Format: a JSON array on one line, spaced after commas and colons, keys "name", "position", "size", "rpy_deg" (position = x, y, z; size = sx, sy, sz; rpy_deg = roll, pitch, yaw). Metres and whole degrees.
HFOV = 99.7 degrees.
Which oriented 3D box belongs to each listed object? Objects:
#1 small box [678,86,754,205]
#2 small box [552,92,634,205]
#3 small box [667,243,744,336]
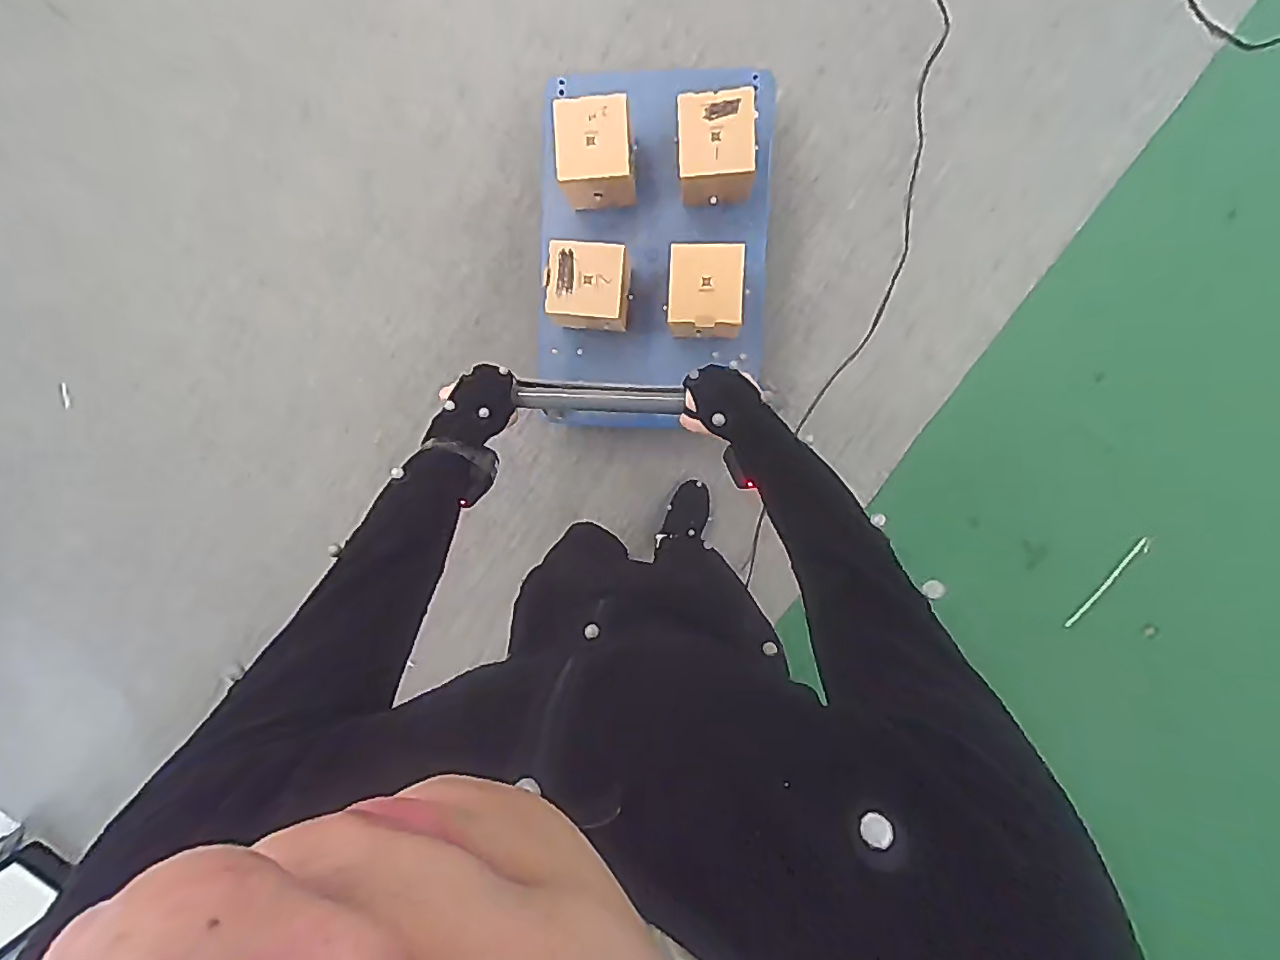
[{"name": "small box", "position": [0.170, -0.762, 1.248], "size": [0.168, 0.176, 0.179], "rpy_deg": [-1, 97, 6]}, {"name": "small box", "position": [-0.105, -0.767, 1.272], "size": [0.168, 0.176, 0.179], "rpy_deg": [-1, 96, 4]}, {"name": "small box", "position": [0.151, -0.446, 1.283], "size": [0.168, 0.176, 0.179], "rpy_deg": [2, 97, 5]}]
